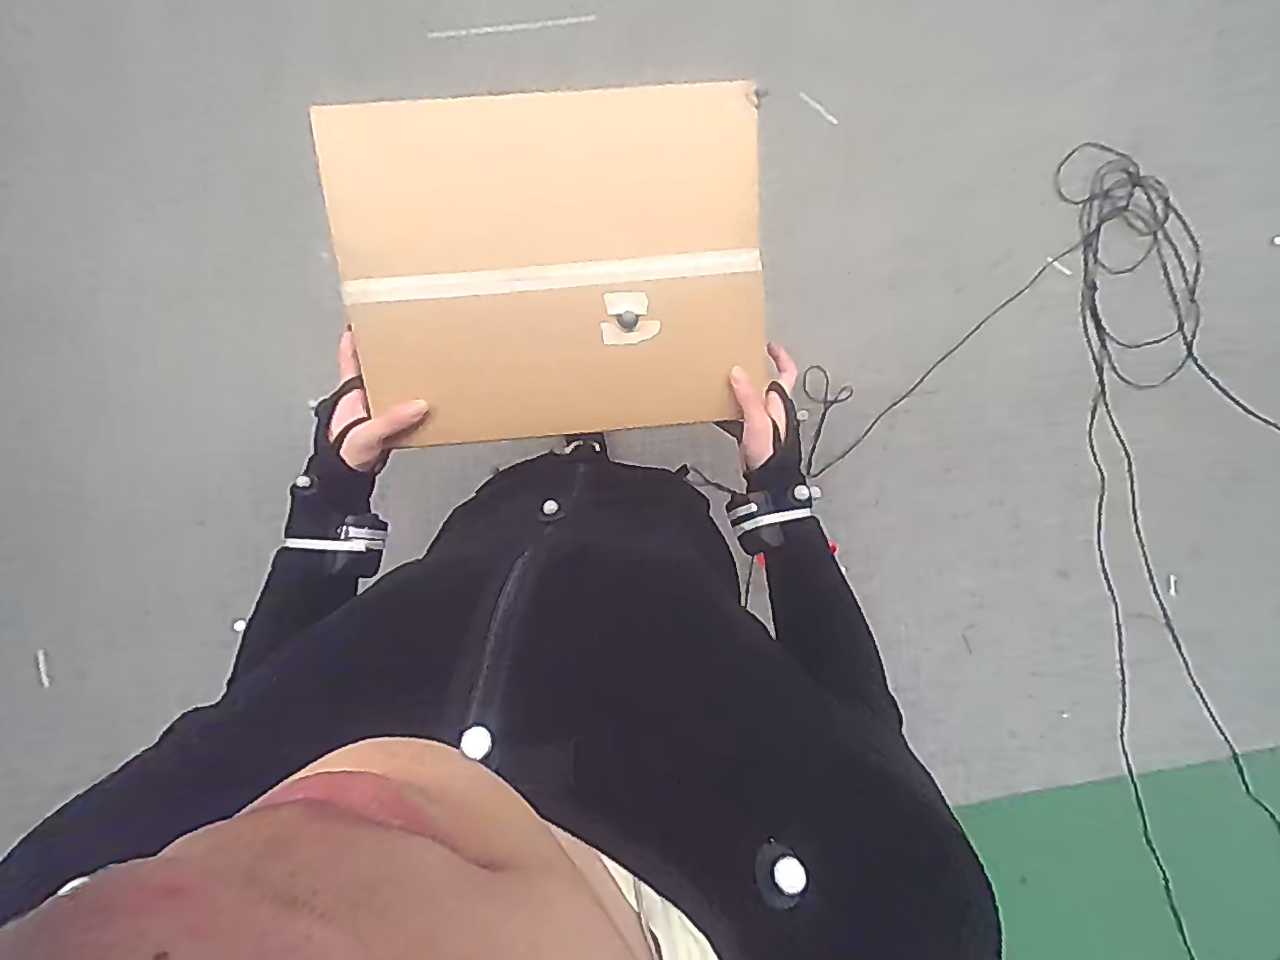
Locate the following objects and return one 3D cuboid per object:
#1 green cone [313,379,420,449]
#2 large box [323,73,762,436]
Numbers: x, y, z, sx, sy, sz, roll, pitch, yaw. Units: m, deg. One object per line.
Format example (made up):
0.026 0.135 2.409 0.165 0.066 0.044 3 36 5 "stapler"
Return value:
-0.733 -0.177 1.393 0.200 0.368 0.202 -2 95 -3 "green cone"
-0.091 -0.248 0.676 0.408 0.320 0.320 -5 105 -3 "large box"
